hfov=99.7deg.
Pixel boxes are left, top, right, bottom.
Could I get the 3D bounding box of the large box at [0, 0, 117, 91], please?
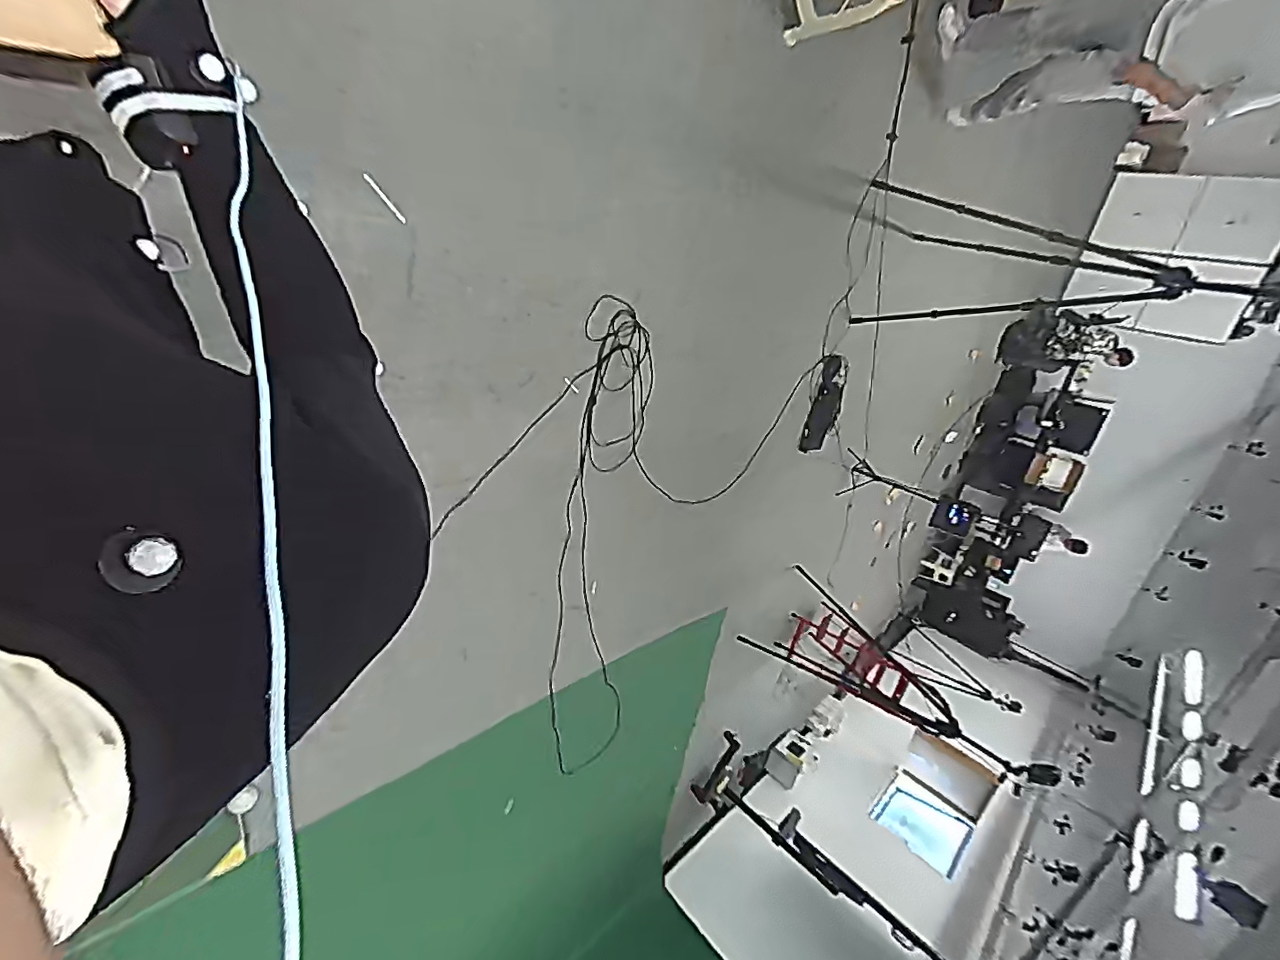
[{"bbox_3d":[-0.631,-0.445,0.303,0.408,0.320,0.320,-22,128,-41],"label":"large box"}]
